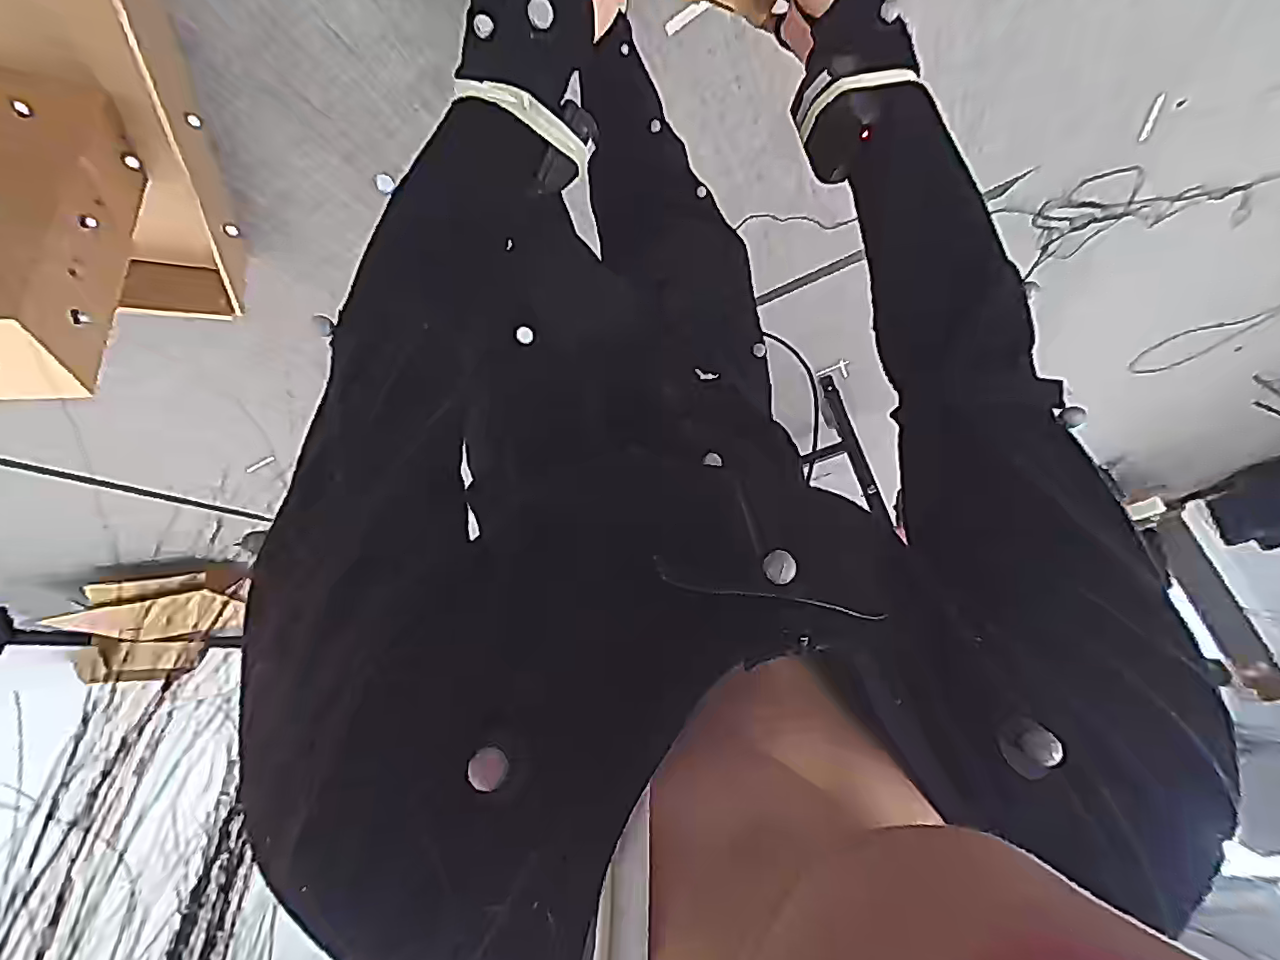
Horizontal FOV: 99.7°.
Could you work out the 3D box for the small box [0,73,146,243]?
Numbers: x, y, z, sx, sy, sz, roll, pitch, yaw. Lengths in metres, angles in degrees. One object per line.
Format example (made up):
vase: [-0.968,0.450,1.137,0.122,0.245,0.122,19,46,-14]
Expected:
small box: [-0.955,-0.520,0.879,0.179,0.176,0.168,-3,155,-23]

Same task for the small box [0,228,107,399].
small box: [-0.889,-0.228,0.747,0.179,0.176,0.168,-5,153,-19]

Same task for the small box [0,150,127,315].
small box: [-0.927,-0.373,0.818,0.179,0.176,0.168,-3,153,-18]

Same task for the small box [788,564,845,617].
small box: [0.722,0.453,2.217,0.168,0.176,0.179,-22,156,20]
